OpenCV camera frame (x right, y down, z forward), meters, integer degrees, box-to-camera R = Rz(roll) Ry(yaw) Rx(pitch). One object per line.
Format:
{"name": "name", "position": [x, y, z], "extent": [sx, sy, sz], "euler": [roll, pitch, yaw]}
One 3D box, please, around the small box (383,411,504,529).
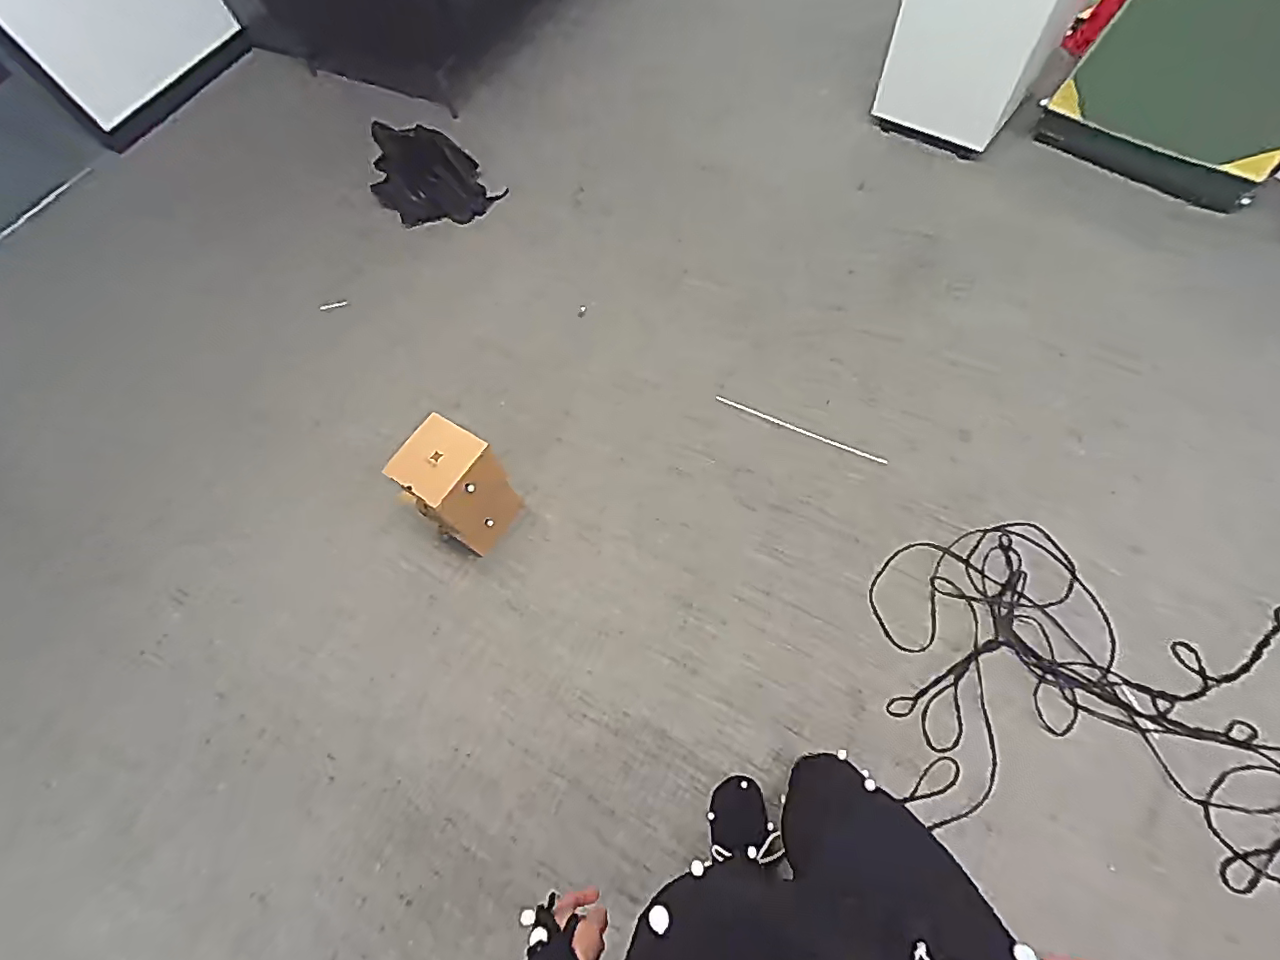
{"name": "small box", "position": [-0.429, -0.018, 1.222], "extent": [0.168, 0.176, 0.179], "euler": [29, 72, 17]}

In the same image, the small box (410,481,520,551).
{"name": "small box", "position": [-0.432, 0.055, 1.369], "extent": [0.168, 0.176, 0.179], "euler": [29, 72, 17]}
